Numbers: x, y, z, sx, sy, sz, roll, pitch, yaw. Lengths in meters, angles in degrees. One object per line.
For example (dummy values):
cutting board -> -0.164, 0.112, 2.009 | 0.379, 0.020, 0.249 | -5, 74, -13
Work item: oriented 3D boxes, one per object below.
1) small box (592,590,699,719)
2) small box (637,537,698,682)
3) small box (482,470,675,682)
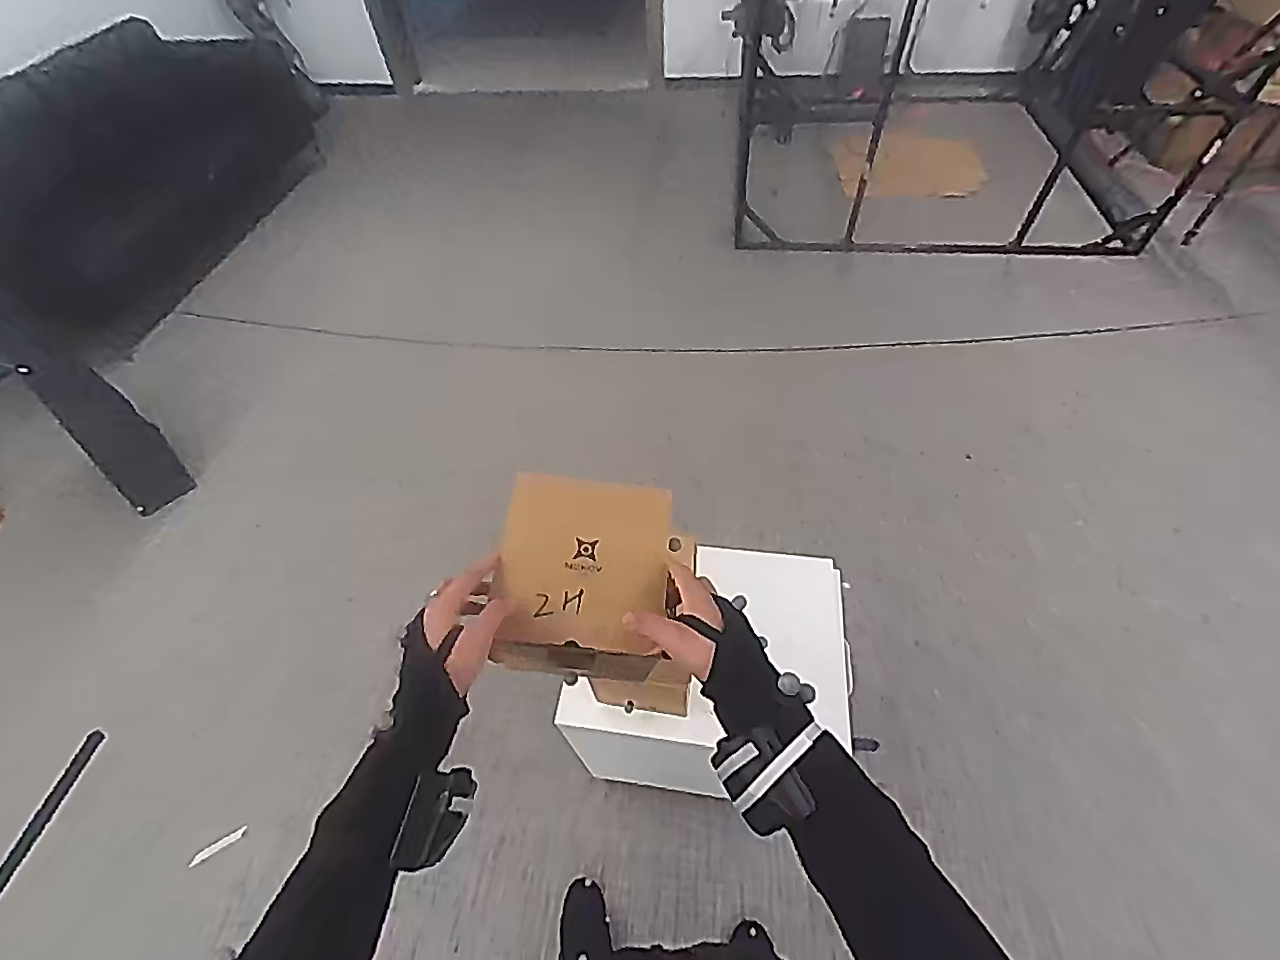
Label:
small box -> 0.011, 0.297, 0.952 | 0.168, 0.176, 0.179 | 6, 53, 9
small box -> -0.004, 0.196, 0.824 | 0.179, 0.176, 0.168 | 2, 51, 7
small box -> -0.061, 0.112, 0.595 | 0.168, 0.176, 0.179 | 8, 63, -2
